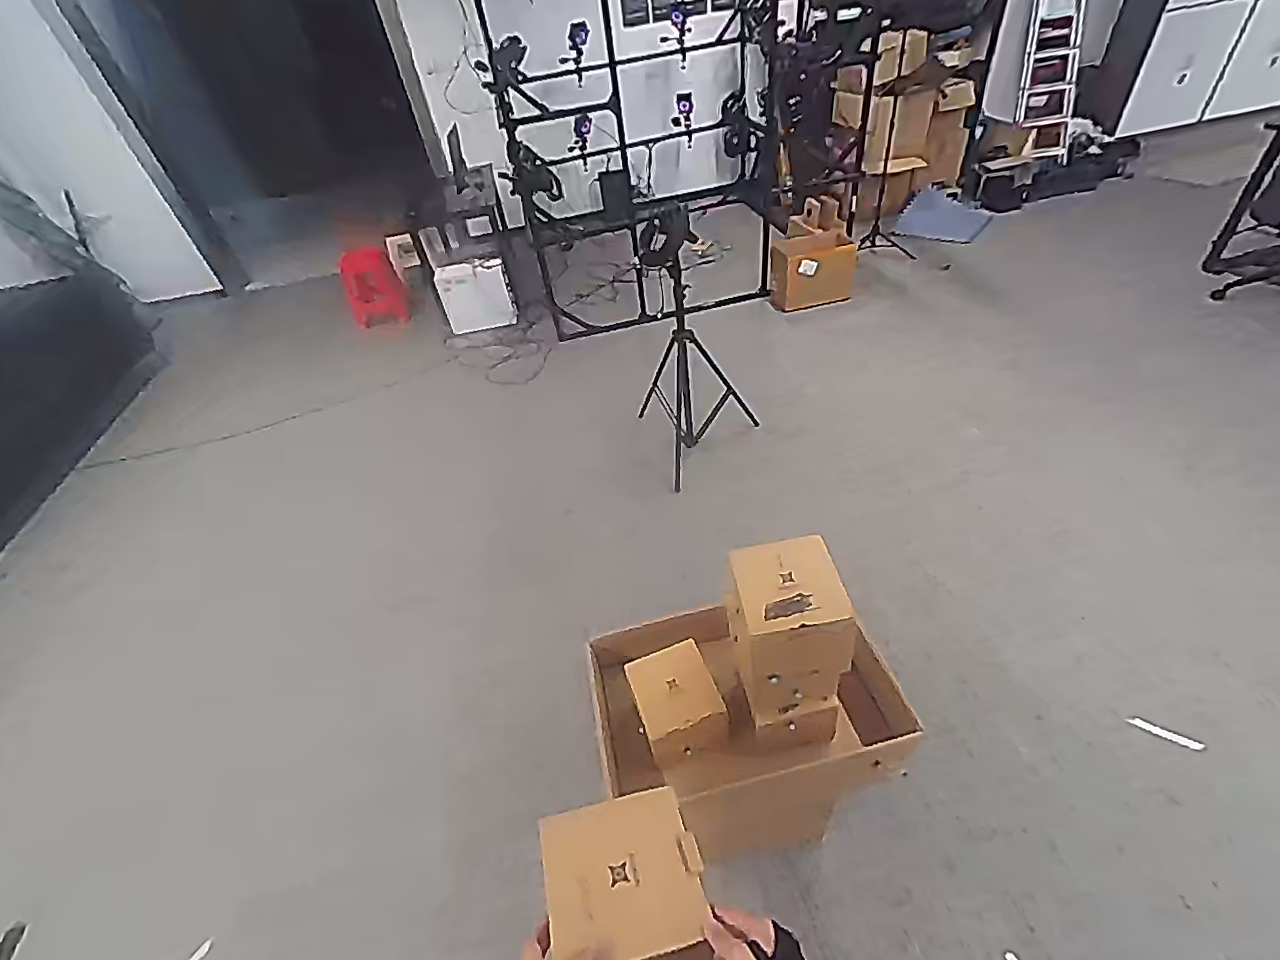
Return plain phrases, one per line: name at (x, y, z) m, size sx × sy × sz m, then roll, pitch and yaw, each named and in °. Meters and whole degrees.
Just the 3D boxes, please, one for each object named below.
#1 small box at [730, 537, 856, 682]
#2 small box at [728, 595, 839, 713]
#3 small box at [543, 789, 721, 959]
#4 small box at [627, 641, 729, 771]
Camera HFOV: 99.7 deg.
small box at (0.258, 0.229, 0.933) m, size 0.168 × 0.176 × 0.179 m, roll -11°, pitch 41°, yaw 4°
small box at (0.279, 0.328, 1.068) m, size 0.168 × 0.176 × 0.179 m, roll -15°, pitch 42°, yaw 0°
small box at (-0.019, 0.516, 0.655) m, size 0.179 × 0.176 × 0.168 m, roll -7°, pitch 33°, yaw -13°
small box at (0.081, 0.491, 1.174) m, size 0.168 × 0.176 × 0.179 m, roll -18°, pitch 43°, yaw -10°
